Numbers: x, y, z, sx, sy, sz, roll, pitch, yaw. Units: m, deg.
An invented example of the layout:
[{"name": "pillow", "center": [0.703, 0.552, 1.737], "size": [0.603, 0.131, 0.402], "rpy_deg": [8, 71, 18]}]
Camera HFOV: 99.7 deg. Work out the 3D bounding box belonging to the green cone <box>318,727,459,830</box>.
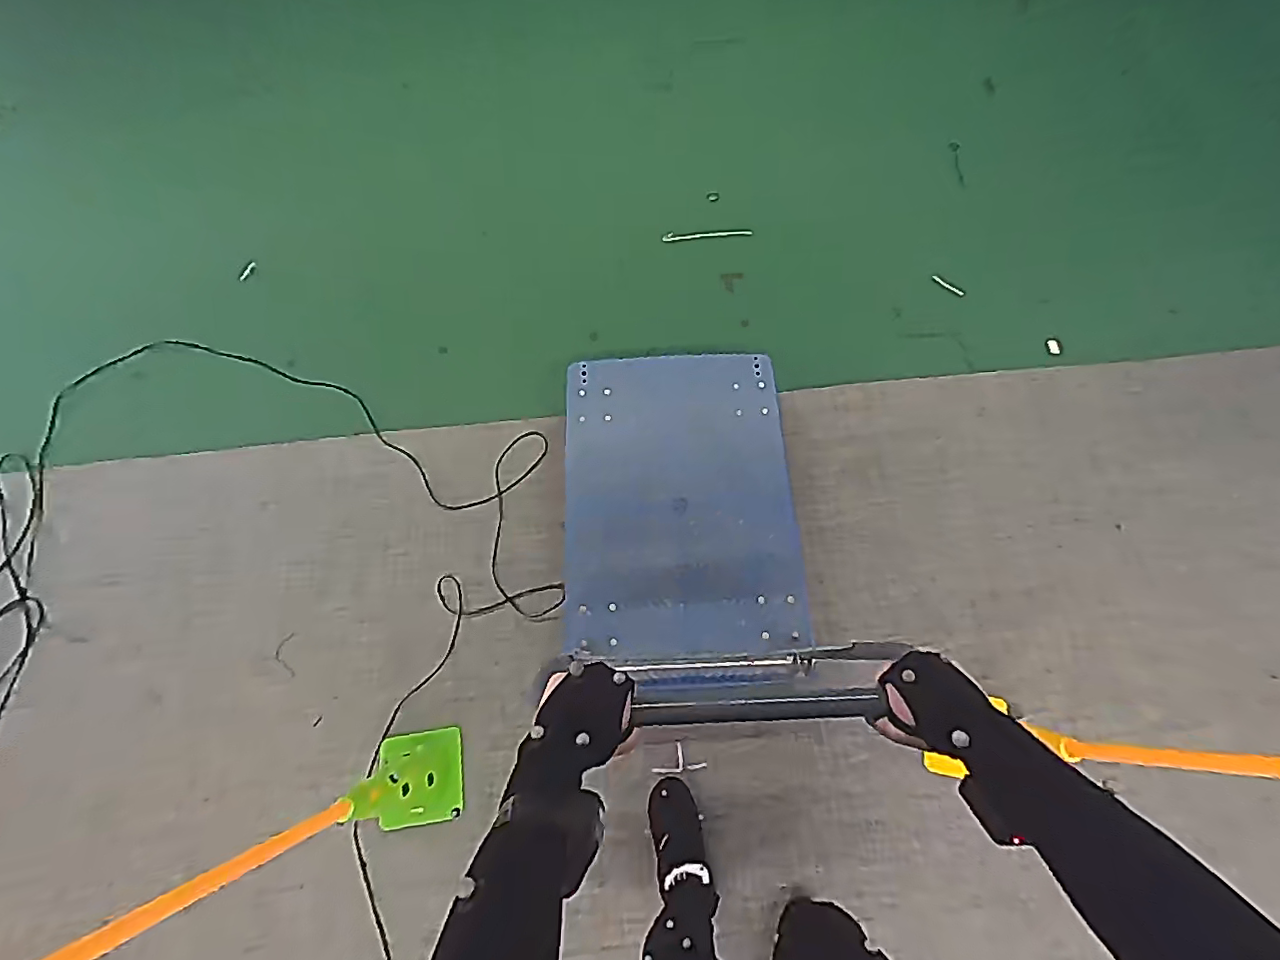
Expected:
[{"name": "green cone", "center": [-0.543, 0.650, 1.134], "size": [0.202, 0.368, 0.200], "rpy_deg": [-10, 69, -1]}]
